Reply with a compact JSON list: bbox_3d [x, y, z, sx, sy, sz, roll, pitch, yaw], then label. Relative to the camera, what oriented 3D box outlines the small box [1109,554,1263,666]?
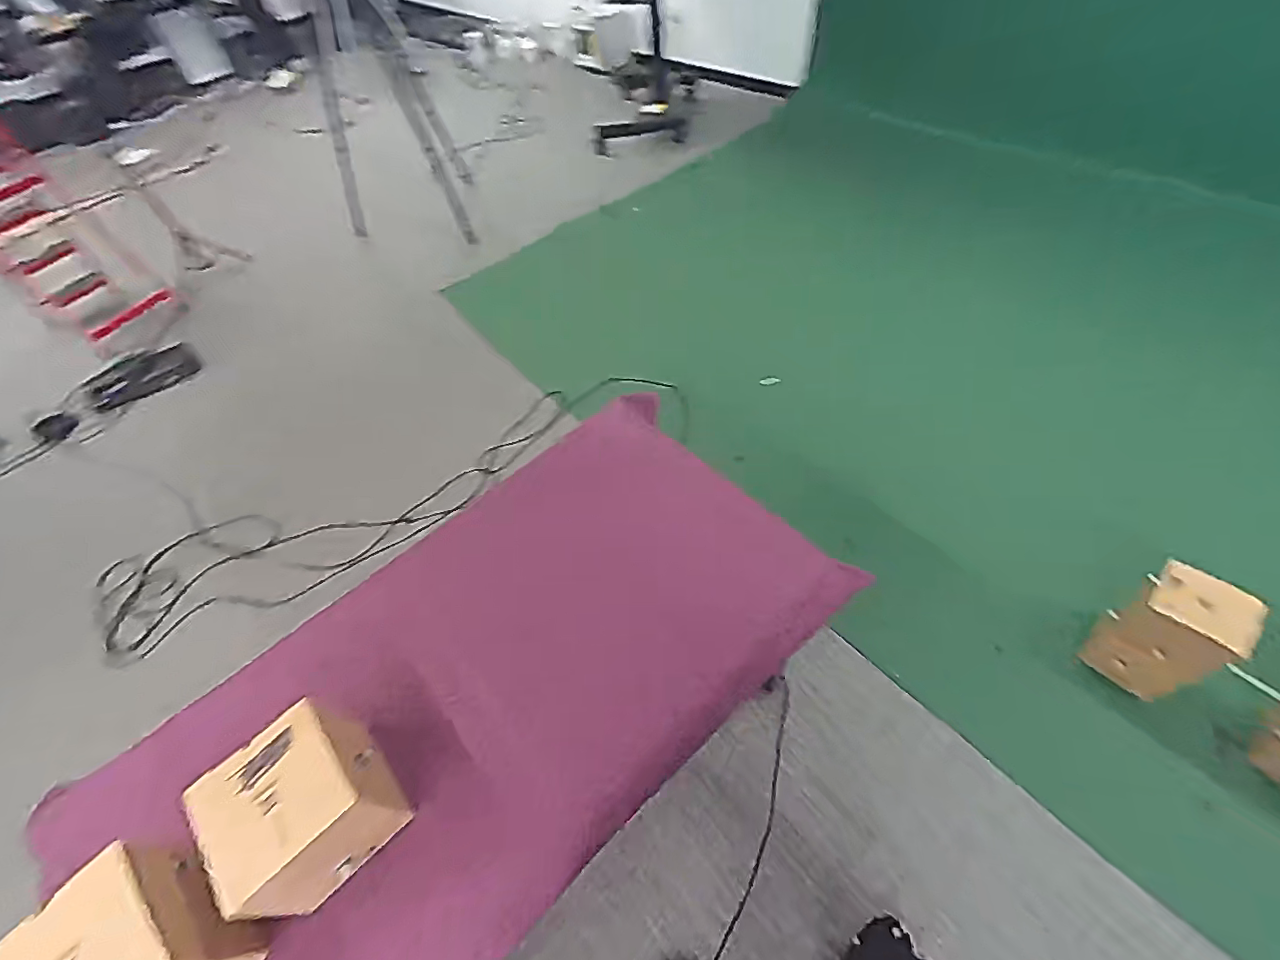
[{"bbox_3d":[1.279,0.314,1.278,0.179,0.176,0.168,36,65,29],"label":"small box"}]

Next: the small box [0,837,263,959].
[{"bbox_3d":[-0.620,0.582,0.664,0.179,0.176,0.168,34,65,27],"label":"small box"}]

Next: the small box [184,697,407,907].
[{"bbox_3d":[-0.462,0.440,0.744,0.168,0.176,0.179,-40,59,-20],"label":"small box"}]

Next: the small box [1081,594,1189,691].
[{"bbox_3d":[1.301,0.415,1.406,0.179,0.176,0.168,-39,57,-20],"label":"small box"}]
